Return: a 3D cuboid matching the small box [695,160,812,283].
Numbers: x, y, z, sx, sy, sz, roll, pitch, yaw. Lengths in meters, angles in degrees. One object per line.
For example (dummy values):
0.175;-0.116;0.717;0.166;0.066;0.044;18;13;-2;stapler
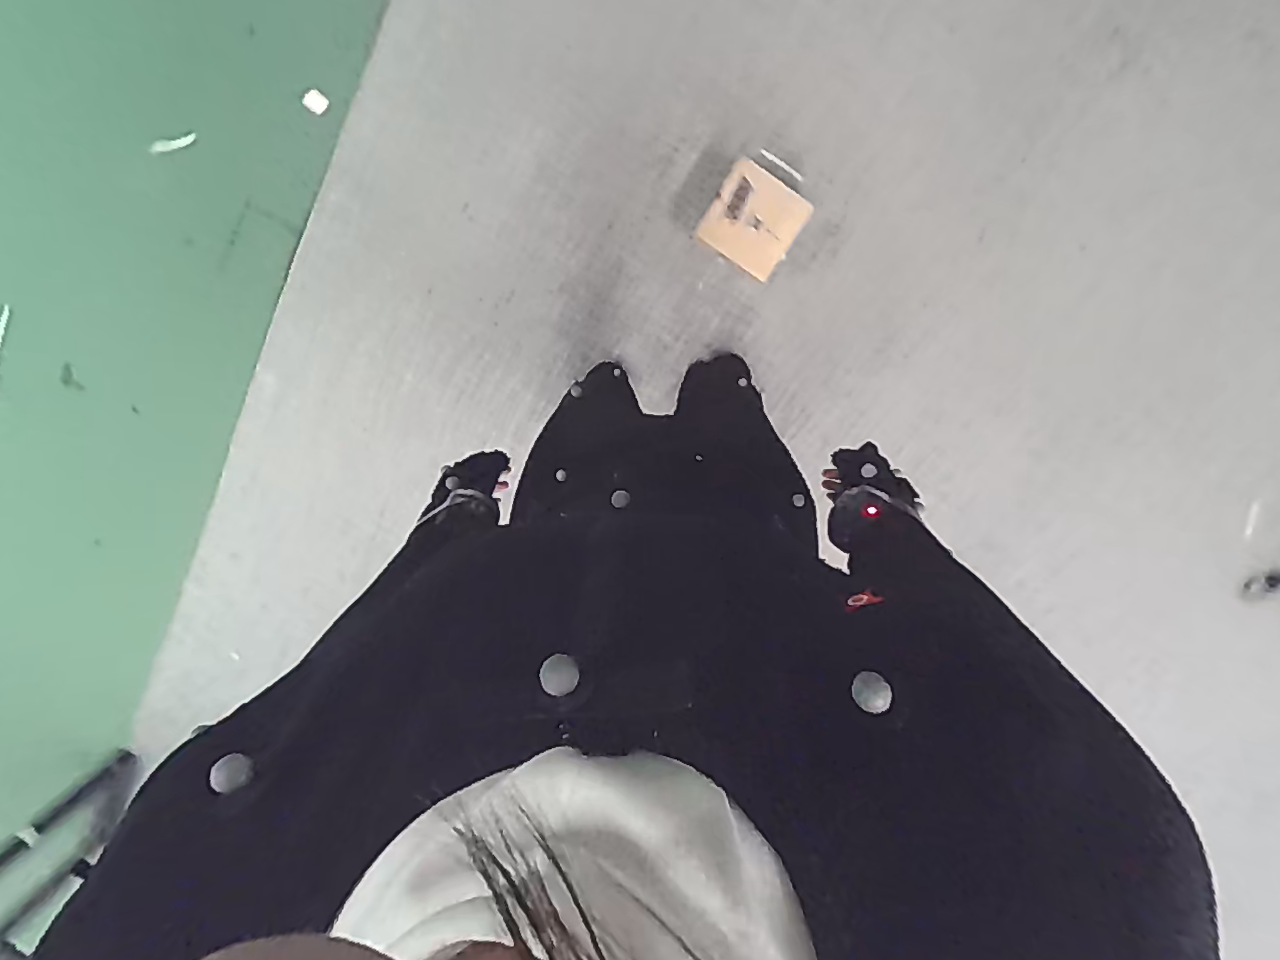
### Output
0.233;-0.539;1.156;0.179;0.176;0.168;33;110;-6;small box
